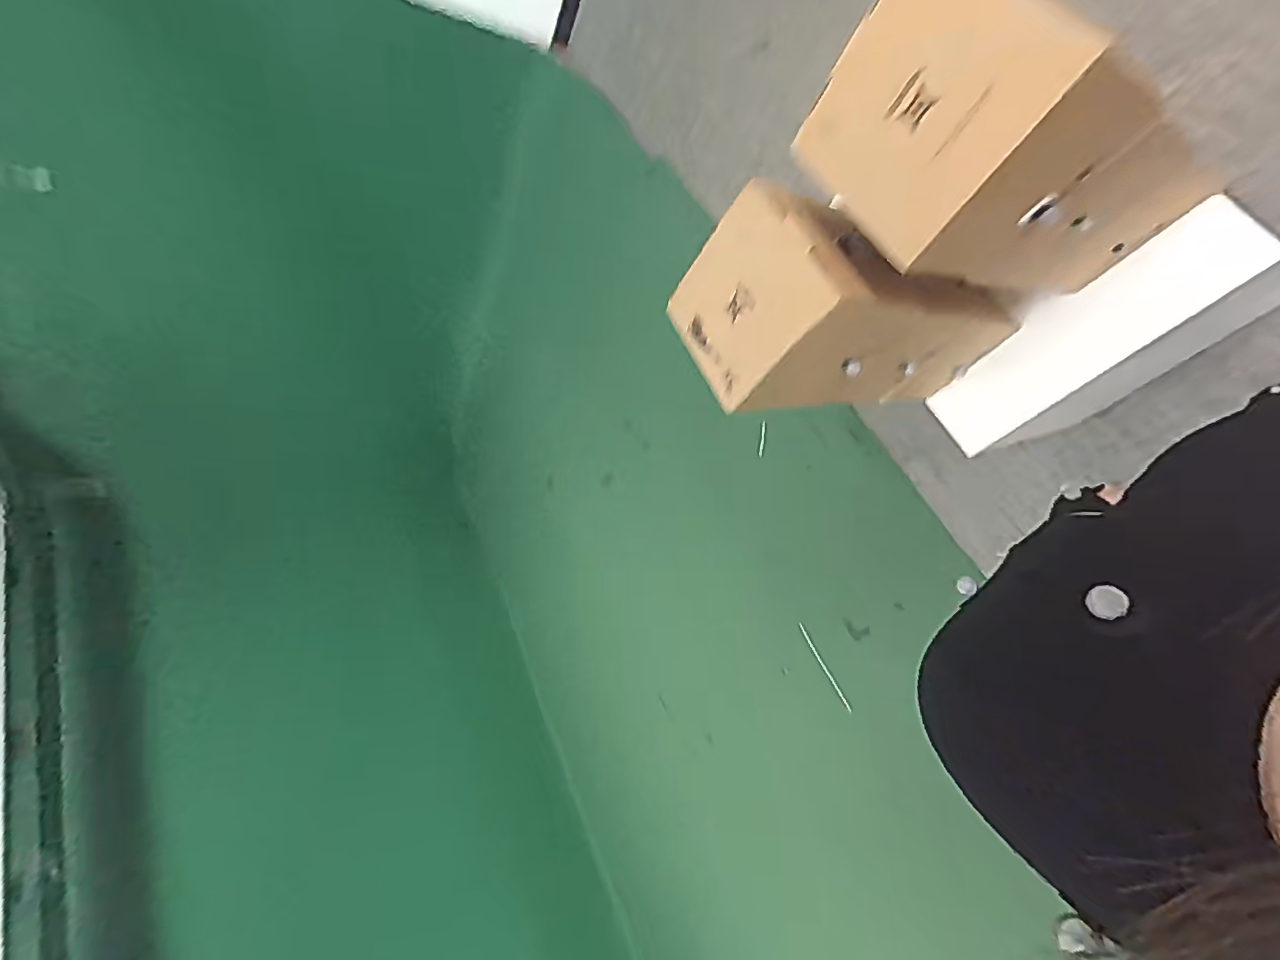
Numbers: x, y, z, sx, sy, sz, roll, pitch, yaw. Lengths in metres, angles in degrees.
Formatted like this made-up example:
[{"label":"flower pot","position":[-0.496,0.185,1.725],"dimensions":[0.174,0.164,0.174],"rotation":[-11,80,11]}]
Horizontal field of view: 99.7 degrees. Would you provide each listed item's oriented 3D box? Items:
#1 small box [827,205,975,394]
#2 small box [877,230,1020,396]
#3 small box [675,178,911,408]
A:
[{"label":"small box","position":[0.301,-0.230,0.730],"dimensions":[0.168,0.176,0.179],"rotation":[-49,60,46]},{"label":"small box","position":[0.430,-0.248,0.831],"dimensions":[0.168,0.176,0.179],"rotation":[-50,60,45]},{"label":"small box","position":[0.178,-0.203,0.624],"dimensions":[0.179,0.176,0.168],"rotation":[-48,61,45]}]
